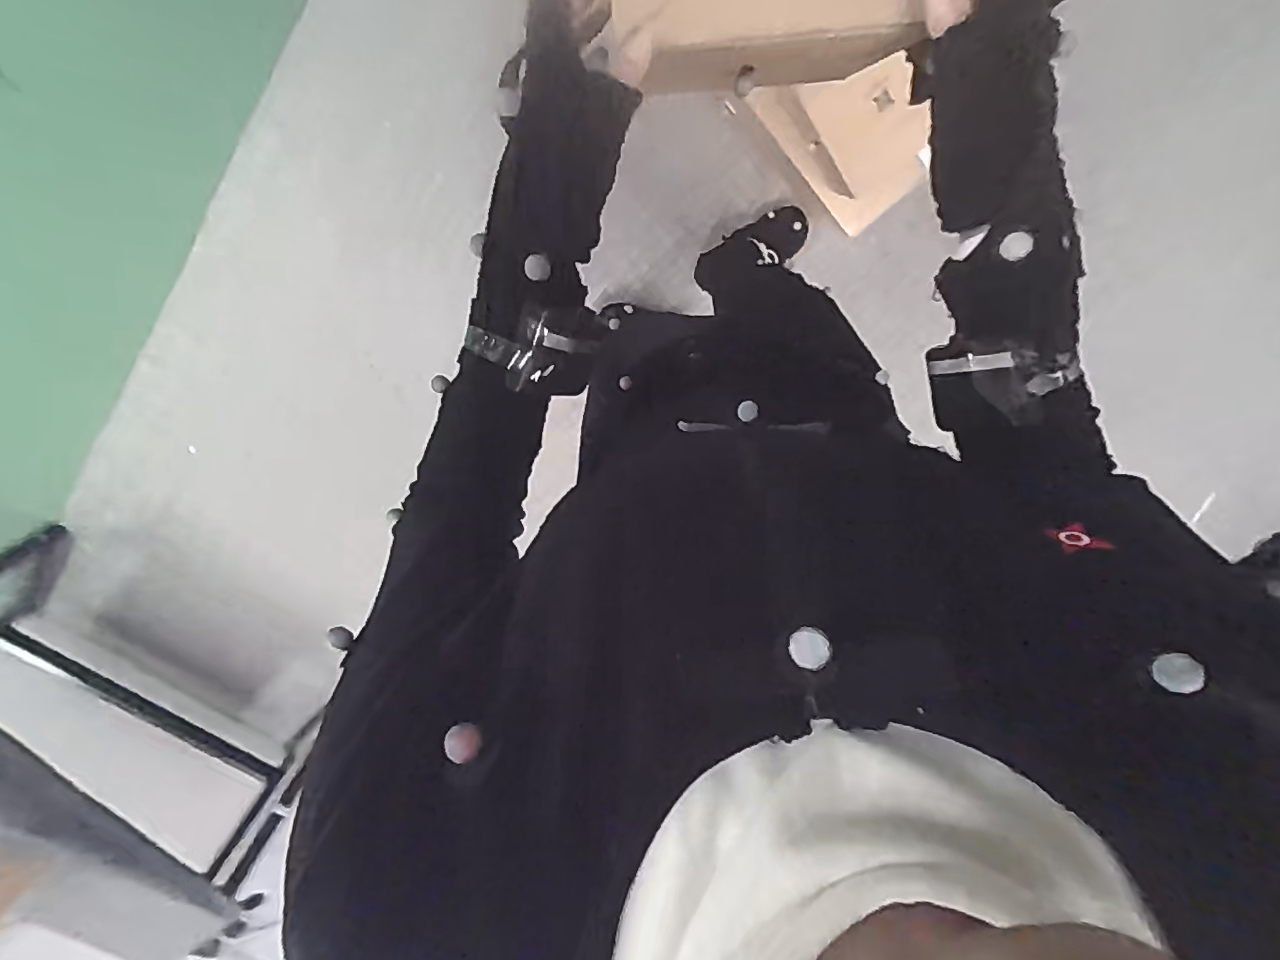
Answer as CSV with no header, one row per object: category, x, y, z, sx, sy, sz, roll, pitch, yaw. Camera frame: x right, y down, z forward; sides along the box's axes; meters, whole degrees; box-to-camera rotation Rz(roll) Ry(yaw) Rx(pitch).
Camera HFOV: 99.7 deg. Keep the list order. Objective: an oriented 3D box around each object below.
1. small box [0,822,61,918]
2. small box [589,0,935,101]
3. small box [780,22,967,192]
small box,-1.674,1.022,1.397,0.168,0.176,0.179,40,116,-17
small box,0.056,-0.331,0.310,0.179,0.176,0.168,-5,120,3
small box,0.317,-0.544,0.769,0.168,0.176,0.179,-32,114,24
